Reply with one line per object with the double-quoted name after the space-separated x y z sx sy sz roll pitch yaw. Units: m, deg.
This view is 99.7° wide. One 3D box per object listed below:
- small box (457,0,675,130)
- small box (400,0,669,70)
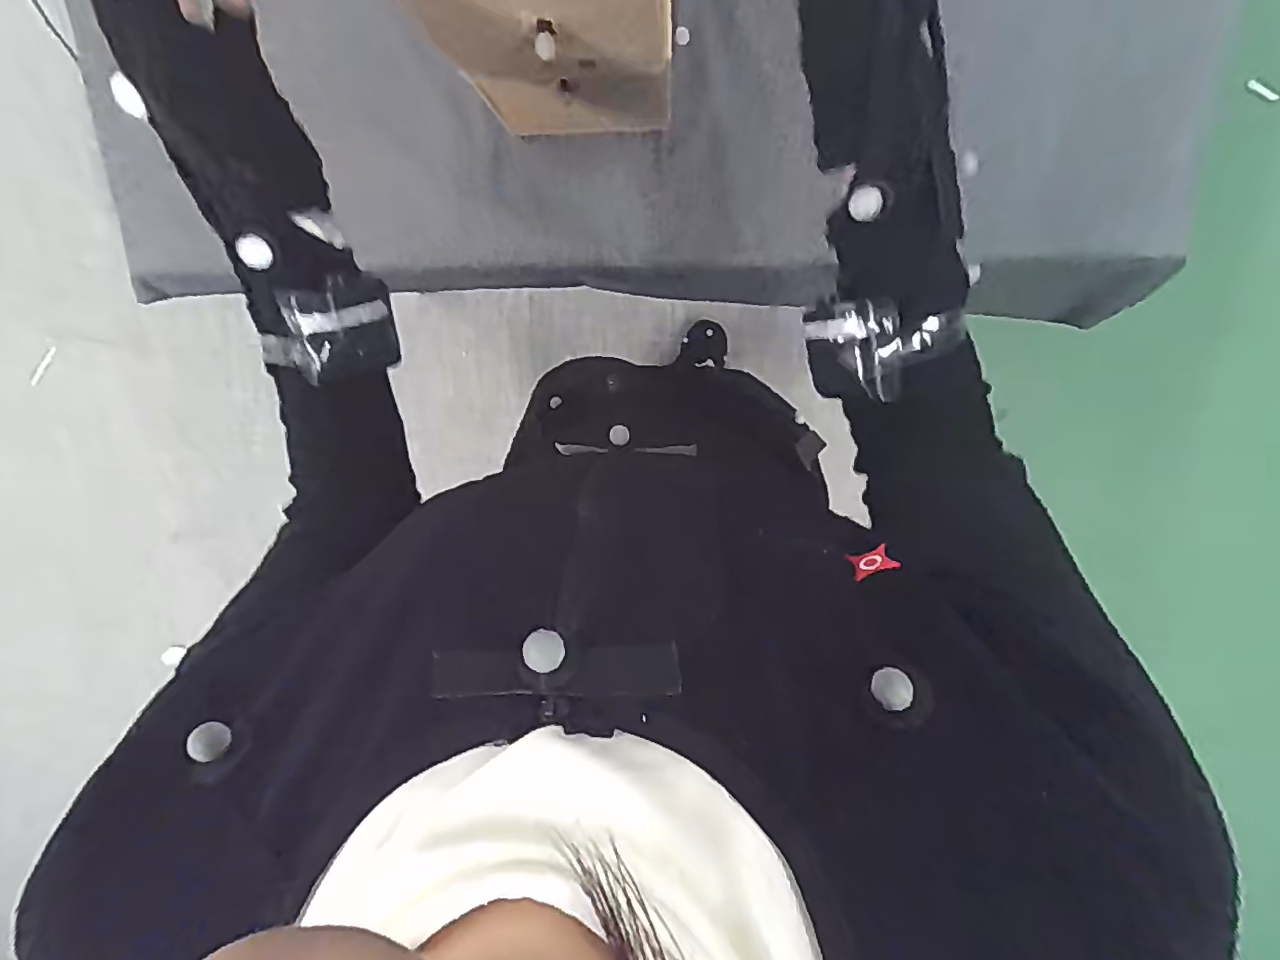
-0.057 -0.434 0.487 0.179 0.176 0.168 -1 107 3 "small box"
-0.067 -0.383 0.332 0.168 0.176 0.179 -1 108 4 "small box"
